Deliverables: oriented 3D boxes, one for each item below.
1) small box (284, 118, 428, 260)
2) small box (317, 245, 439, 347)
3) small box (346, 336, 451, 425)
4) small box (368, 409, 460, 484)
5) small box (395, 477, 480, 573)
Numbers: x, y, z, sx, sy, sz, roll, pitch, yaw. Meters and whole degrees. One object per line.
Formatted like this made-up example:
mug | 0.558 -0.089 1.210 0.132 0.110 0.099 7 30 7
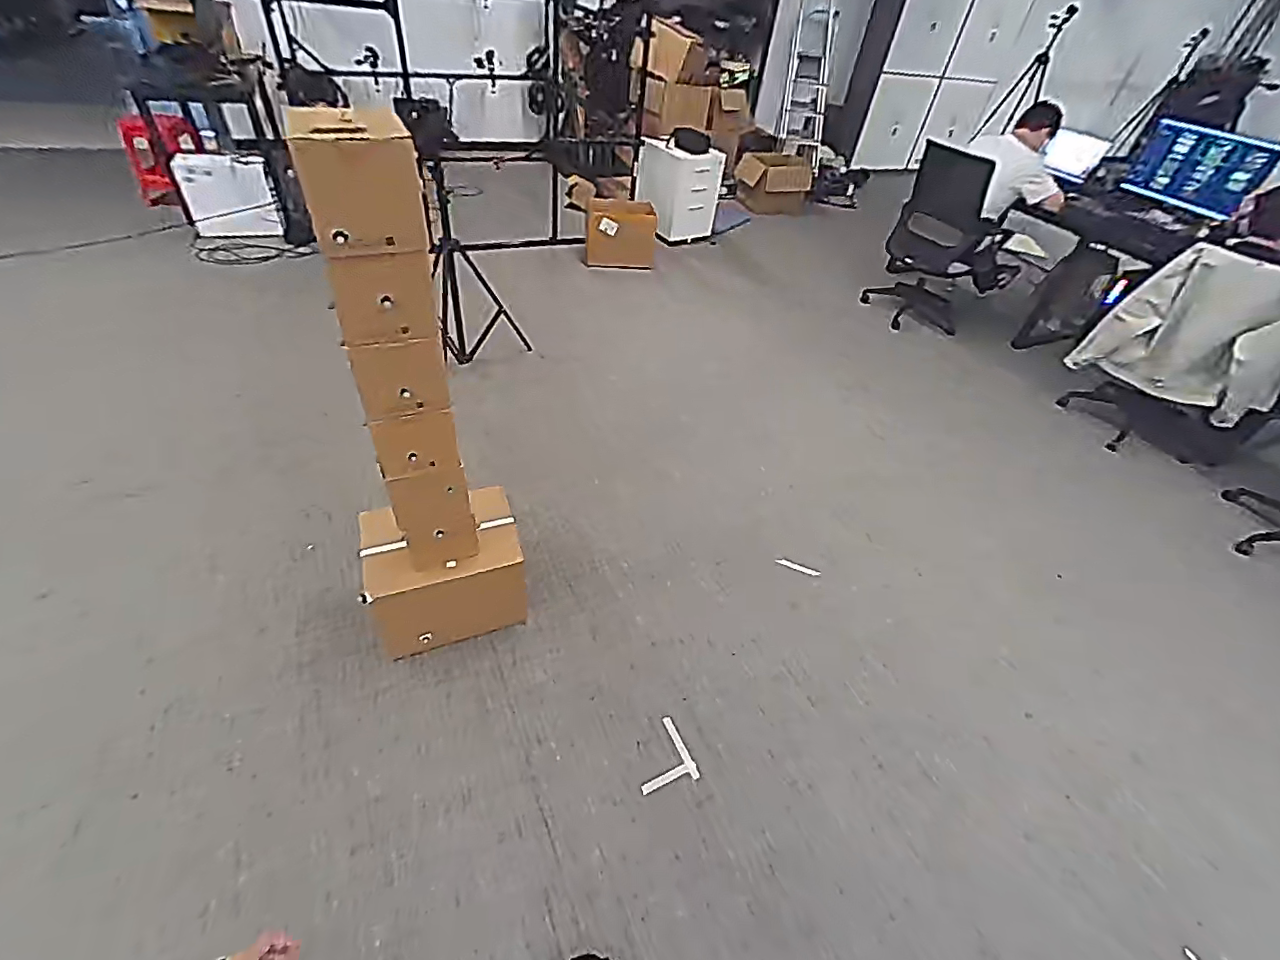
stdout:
small box | -0.456 -0.471 0.881 0.168 0.176 0.179 -15 49 -23
small box | -0.482 -0.359 1.000 0.168 0.176 0.179 -15 49 -23
small box | -0.498 -0.238 1.110 0.168 0.176 0.179 -15 49 -22
small box | -0.513 -0.118 1.221 0.168 0.176 0.179 -14 48 -22
small box | -0.536 0.122 1.441 0.179 0.176 0.168 -13 48 -23
